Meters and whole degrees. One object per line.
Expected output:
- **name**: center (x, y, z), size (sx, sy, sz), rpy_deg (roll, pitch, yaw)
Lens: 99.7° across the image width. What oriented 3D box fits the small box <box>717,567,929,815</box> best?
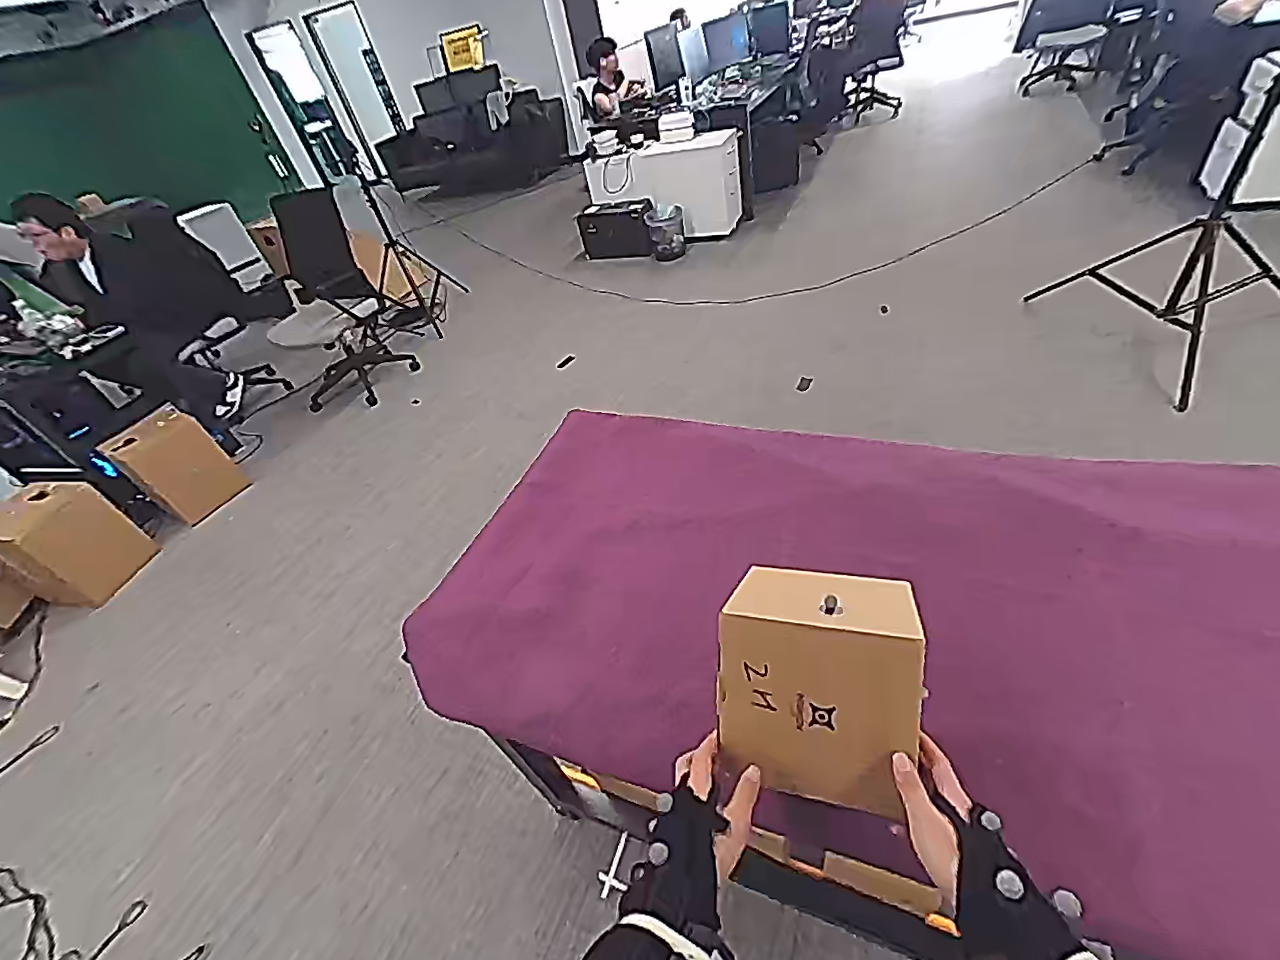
- **small box**: center (0.185, 0.194, 0.557), size (0.179, 0.168, 0.176), rpy_deg (3, 7, 22)
